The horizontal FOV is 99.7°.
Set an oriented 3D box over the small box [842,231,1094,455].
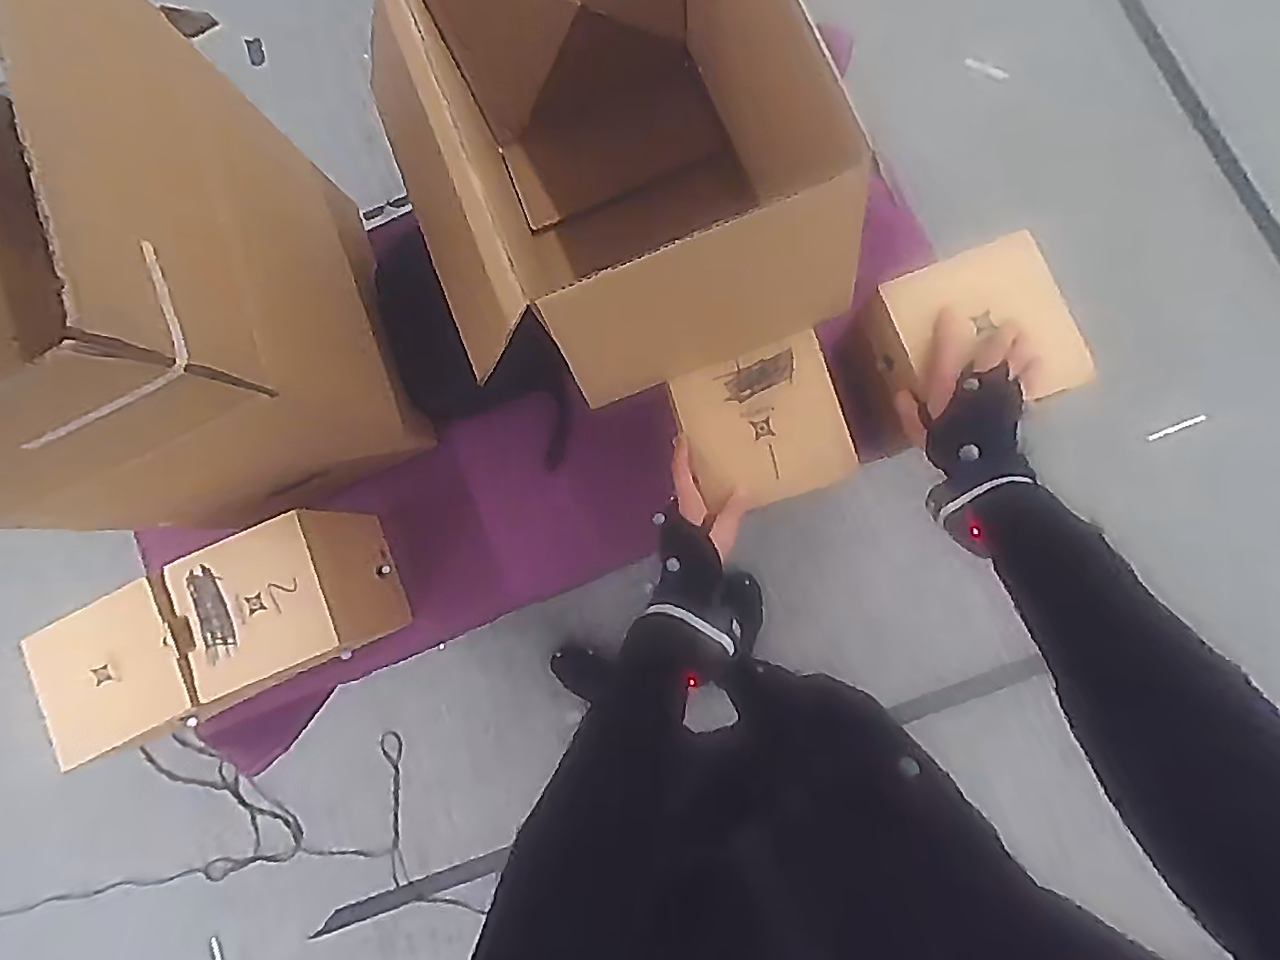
[{"bbox_3d":[0.359,-0.145,0.635,0.168,0.176,0.179,-20,82,5],"label":"small box"}]
